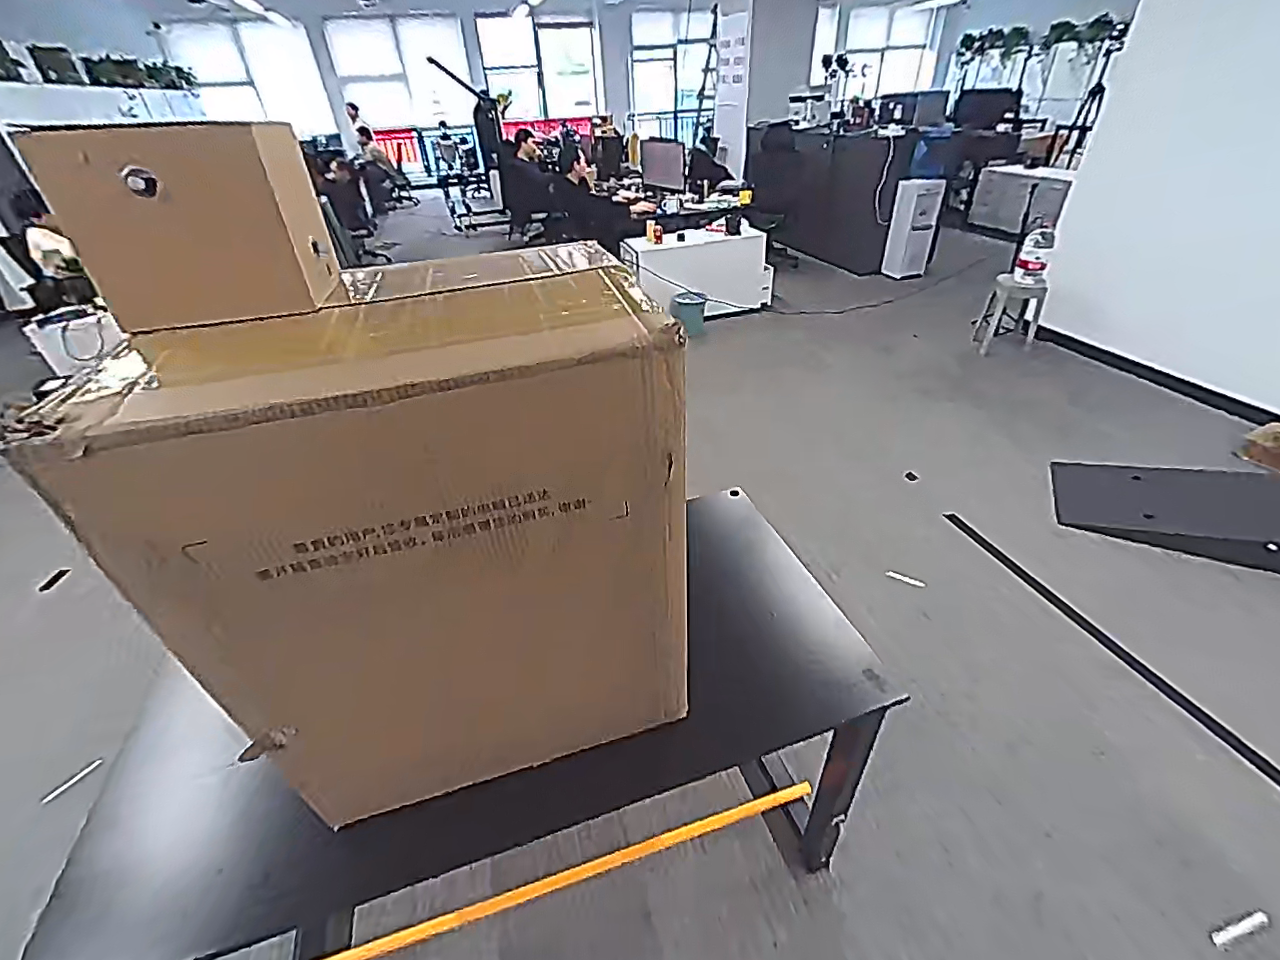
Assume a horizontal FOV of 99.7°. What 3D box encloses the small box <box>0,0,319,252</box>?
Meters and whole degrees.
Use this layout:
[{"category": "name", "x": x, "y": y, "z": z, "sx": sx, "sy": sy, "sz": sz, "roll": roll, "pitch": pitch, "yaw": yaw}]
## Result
[{"category": "small box", "x": -0.418, "y": -0.305, "z": 0.474, "sx": 0.179, "sy": 0.176, "sz": 0.168, "roll": -11, "pitch": 35, "yaw": -13}]
